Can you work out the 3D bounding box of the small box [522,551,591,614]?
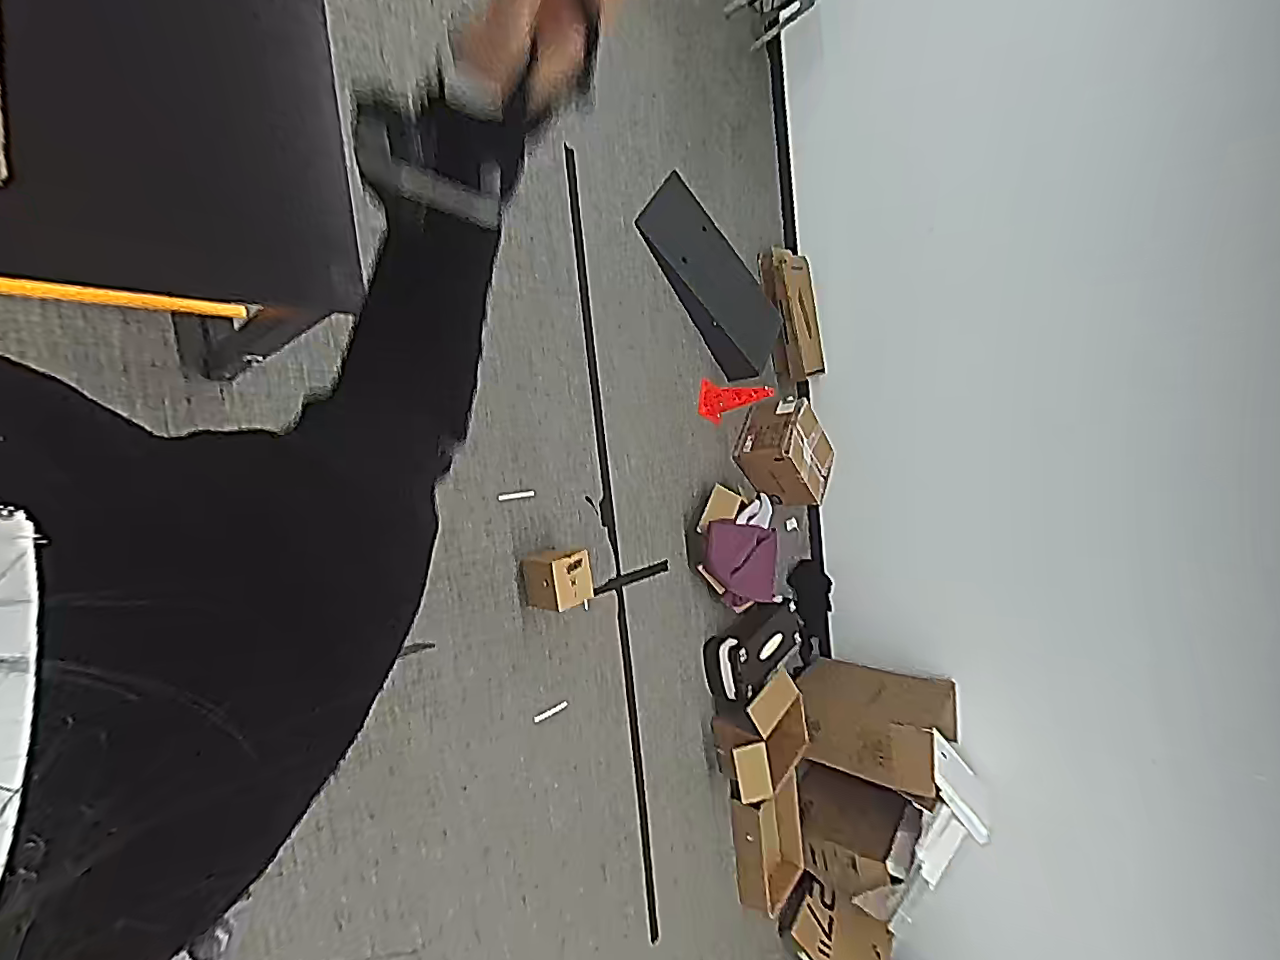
[{"bbox_3d":[-0.296,0.352,1.892,0.168,0.176,0.179,-15,100,-48],"label":"small box"}]
